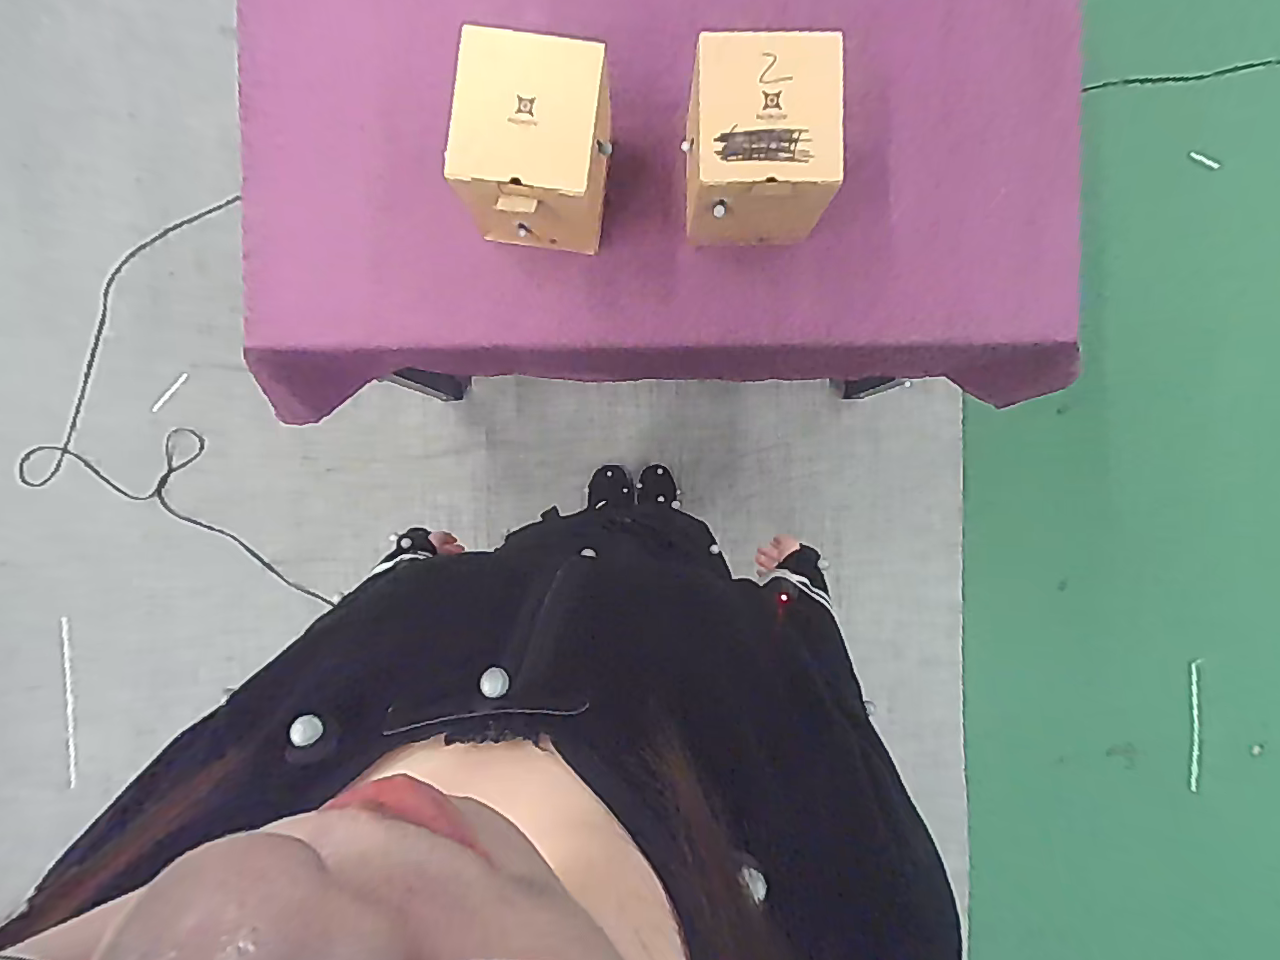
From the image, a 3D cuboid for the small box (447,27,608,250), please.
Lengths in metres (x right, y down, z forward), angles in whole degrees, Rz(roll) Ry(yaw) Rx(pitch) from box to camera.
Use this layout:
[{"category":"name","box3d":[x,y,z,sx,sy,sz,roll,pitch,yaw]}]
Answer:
[{"category":"small box","box3d":[-0.134,-0.431,0.710,0.168,0.176,0.179,8,92,-1]}]
